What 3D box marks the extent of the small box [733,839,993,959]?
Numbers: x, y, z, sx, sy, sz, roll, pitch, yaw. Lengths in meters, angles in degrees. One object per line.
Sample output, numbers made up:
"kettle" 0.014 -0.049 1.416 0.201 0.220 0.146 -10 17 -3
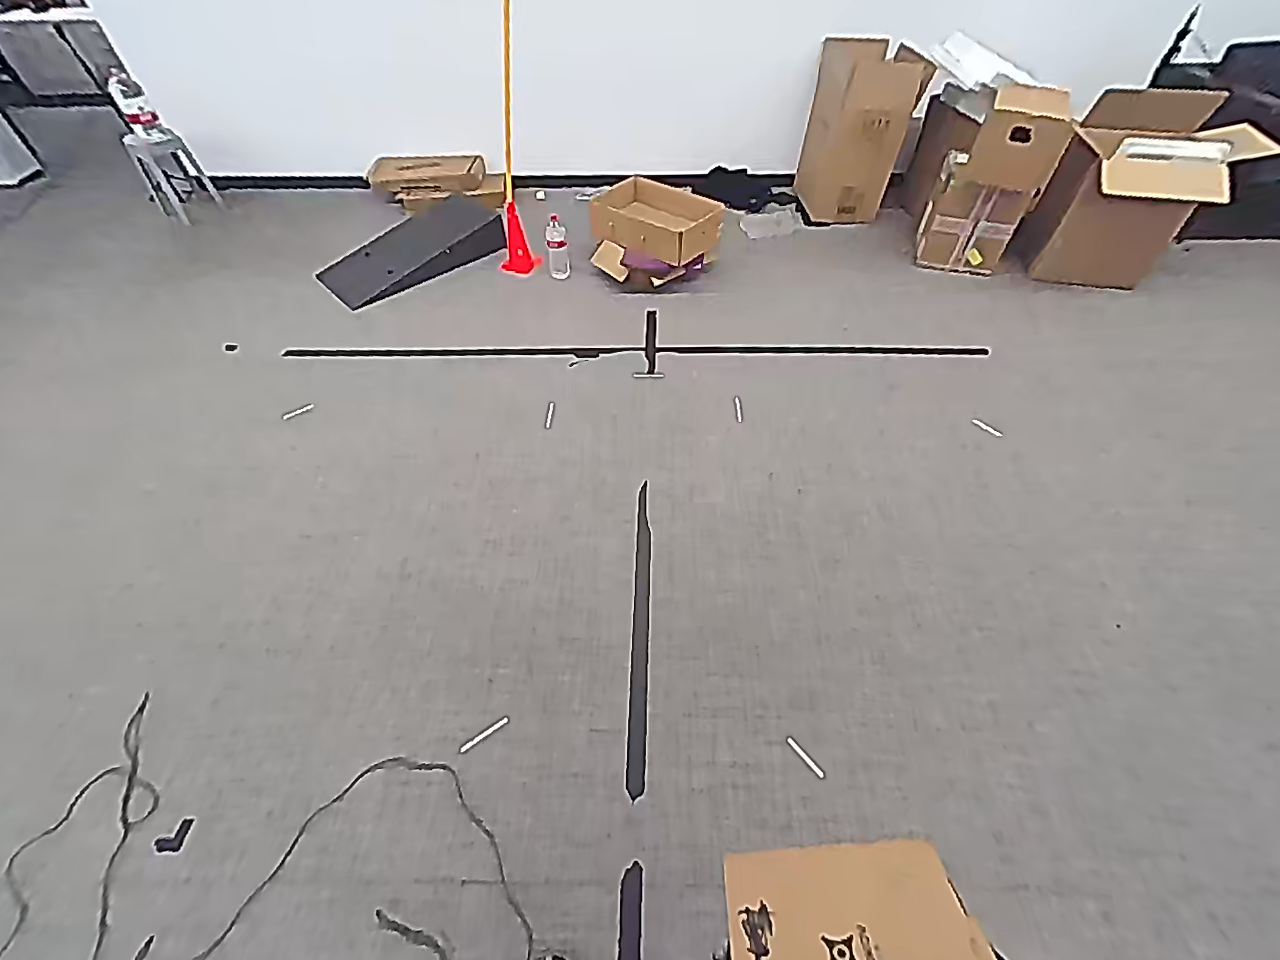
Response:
"small box" 0.173 0.416 0.412 0.179 0.176 0.168 -9 15 7
